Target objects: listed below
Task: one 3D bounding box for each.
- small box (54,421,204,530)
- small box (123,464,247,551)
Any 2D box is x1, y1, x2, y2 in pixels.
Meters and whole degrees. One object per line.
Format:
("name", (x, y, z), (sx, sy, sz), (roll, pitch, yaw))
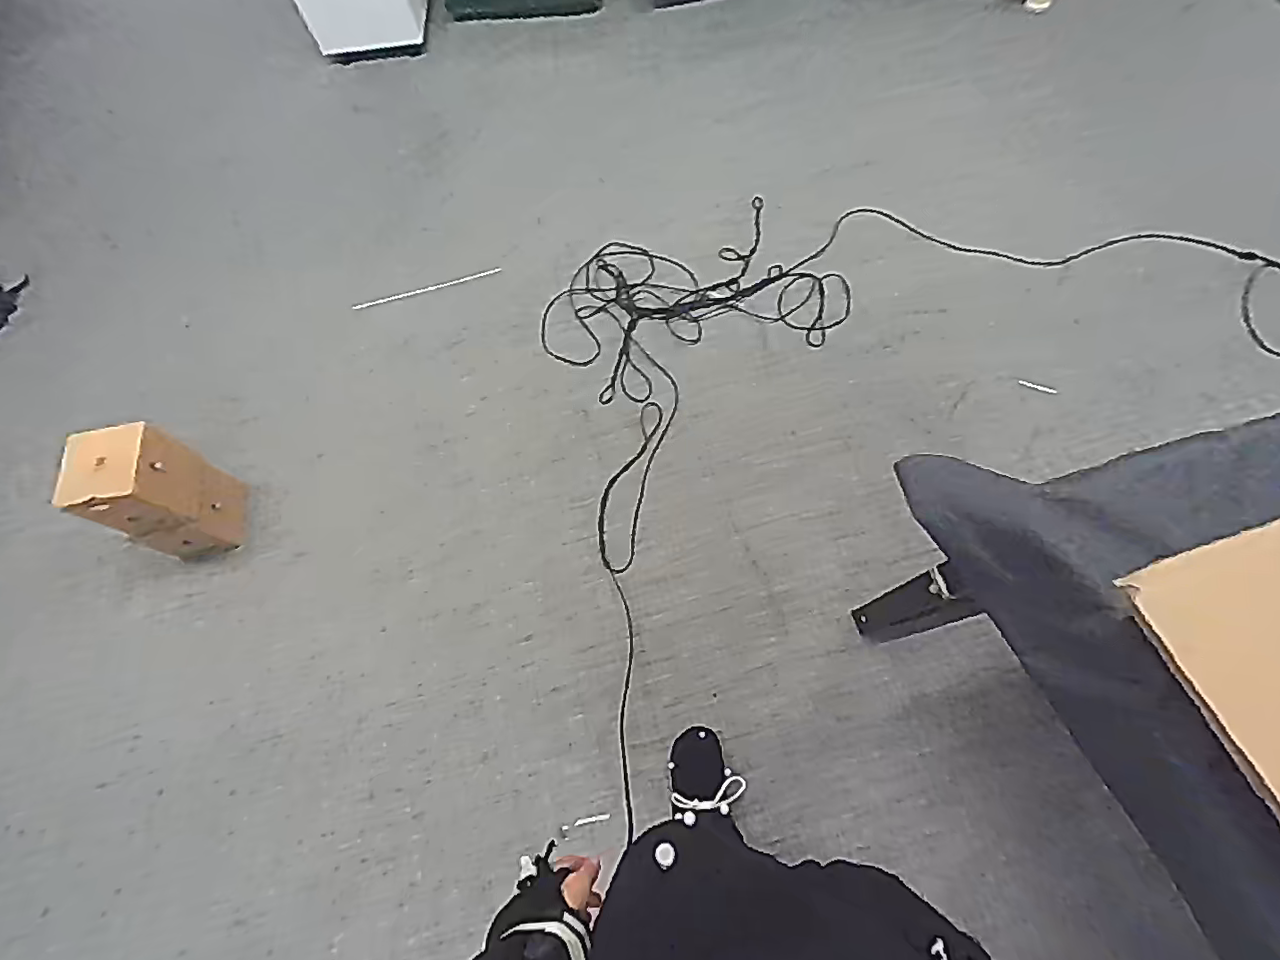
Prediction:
("small box", (-1.128, -0.005, 1.211), (0.168, 0.176, 0.179), (-11, 68, -2))
("small box", (-1.128, 0.072, 1.356), (0.168, 0.176, 0.179), (-12, 68, -2))
